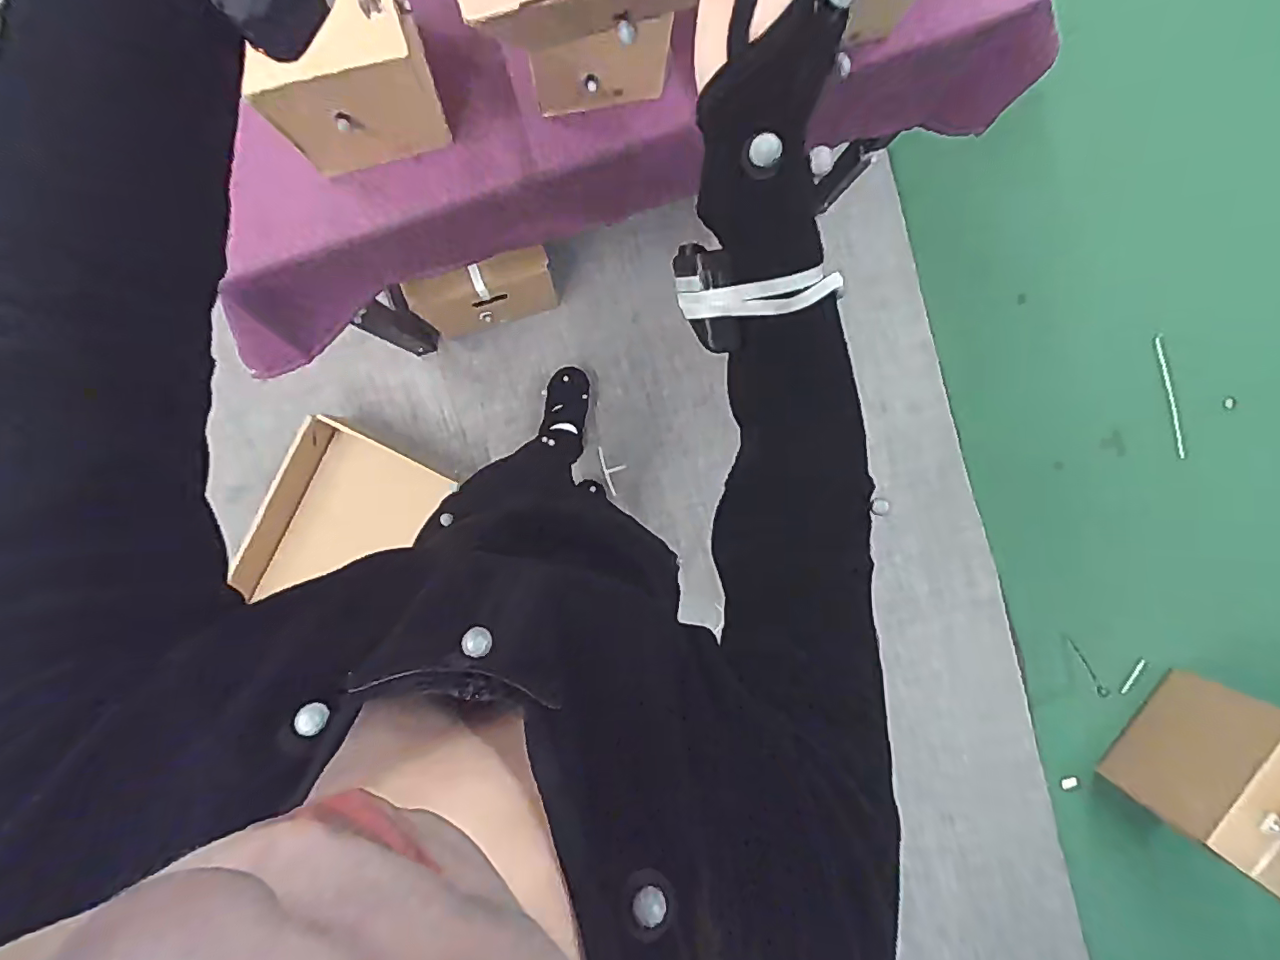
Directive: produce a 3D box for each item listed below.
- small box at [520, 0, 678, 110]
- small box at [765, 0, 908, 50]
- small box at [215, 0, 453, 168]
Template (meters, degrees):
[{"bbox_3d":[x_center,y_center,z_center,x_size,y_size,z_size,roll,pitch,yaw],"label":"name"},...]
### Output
[{"bbox_3d":[-0.060,-0.585,0.639,0.168,0.176,0.179,-12,96,-3],"label":"small box"},{"bbox_3d":[0.250,-0.668,0.652,0.168,0.176,0.179,-16,94,-3],"label":"small box"},{"bbox_3d":[-0.343,-0.495,0.623,0.179,0.176,0.168,-16,96,-2],"label":"small box"}]
